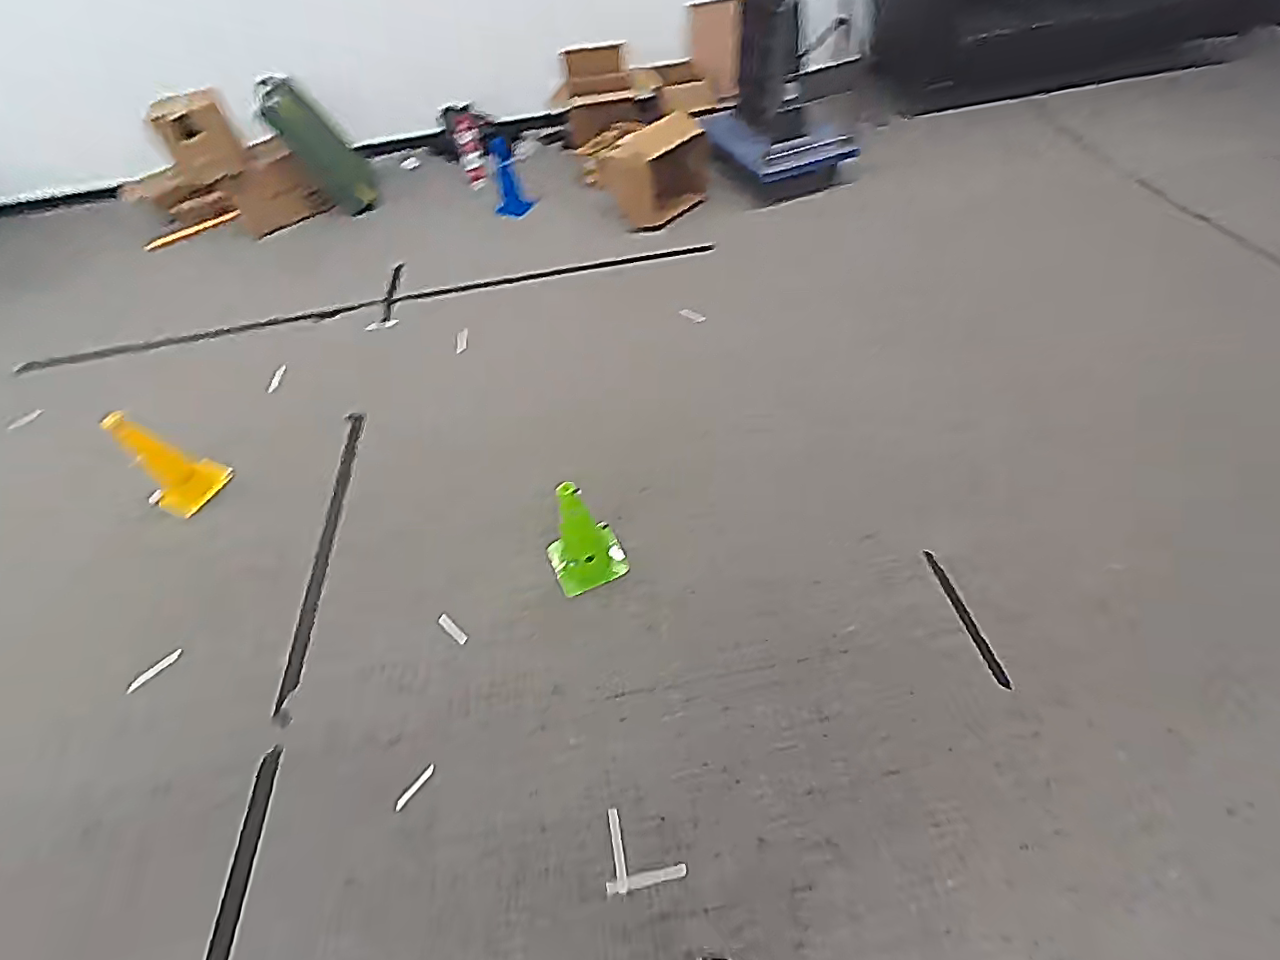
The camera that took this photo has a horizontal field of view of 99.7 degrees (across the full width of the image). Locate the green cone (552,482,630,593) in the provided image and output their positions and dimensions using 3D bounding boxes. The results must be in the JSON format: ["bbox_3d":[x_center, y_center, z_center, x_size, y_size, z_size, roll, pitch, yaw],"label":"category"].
[{"bbox_3d":[-0.168,0.126,1.505,0.200,0.368,0.202,-22,54,-10],"label":"green cone"}]
